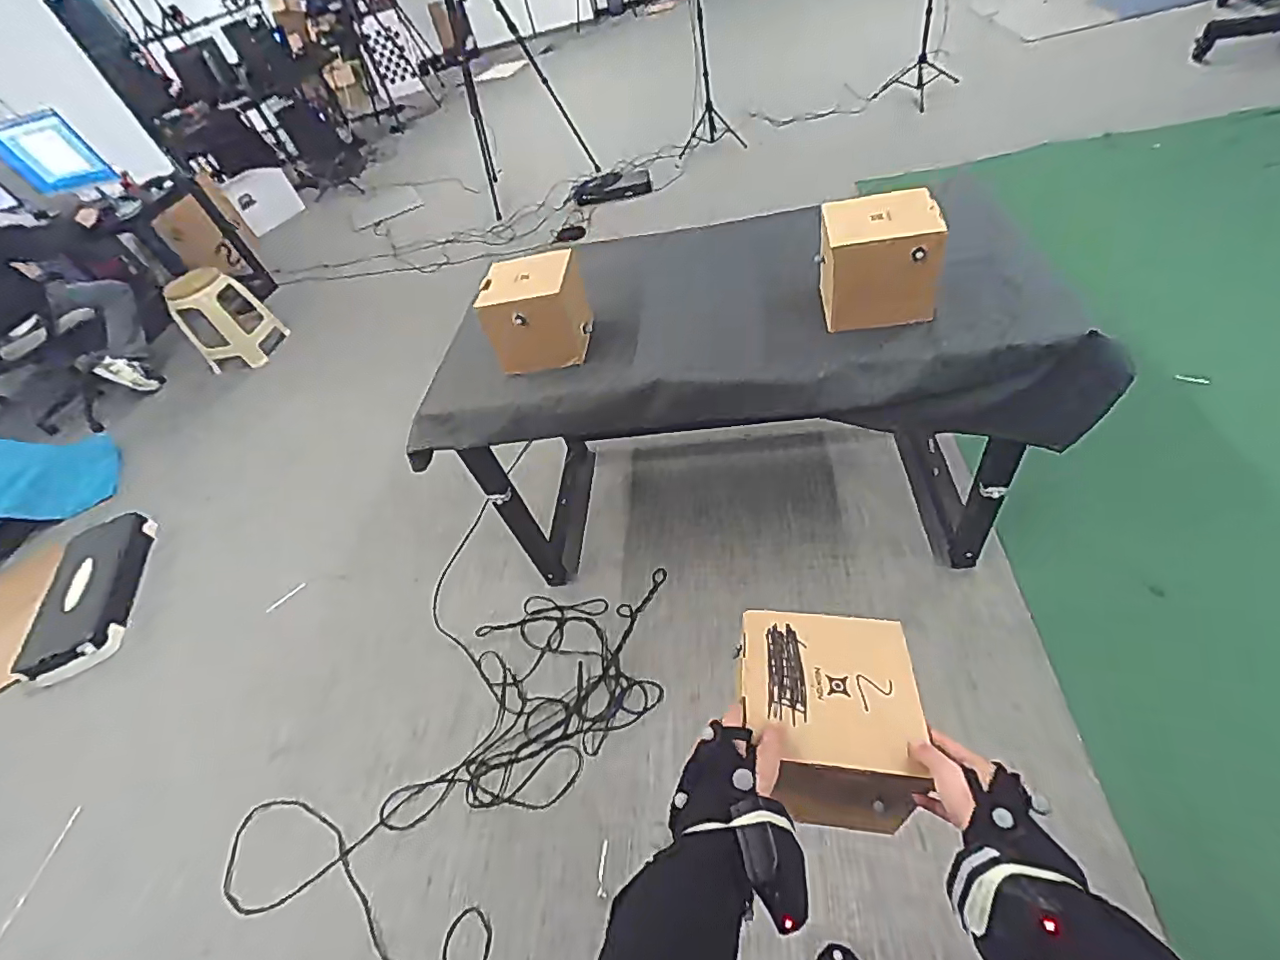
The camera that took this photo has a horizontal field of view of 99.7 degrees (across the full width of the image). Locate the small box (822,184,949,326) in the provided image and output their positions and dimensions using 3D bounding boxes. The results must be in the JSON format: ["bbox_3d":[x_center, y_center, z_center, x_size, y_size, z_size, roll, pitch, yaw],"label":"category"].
[{"bbox_3d":[0.420,-0.390,0.957,0.179,0.176,0.168,-3,49,14],"label":"small box"}]

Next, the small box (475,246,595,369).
[{"bbox_3d":[-0.204,-0.344,1.102,0.179,0.176,0.168,-5,50,11],"label":"small box"}]
